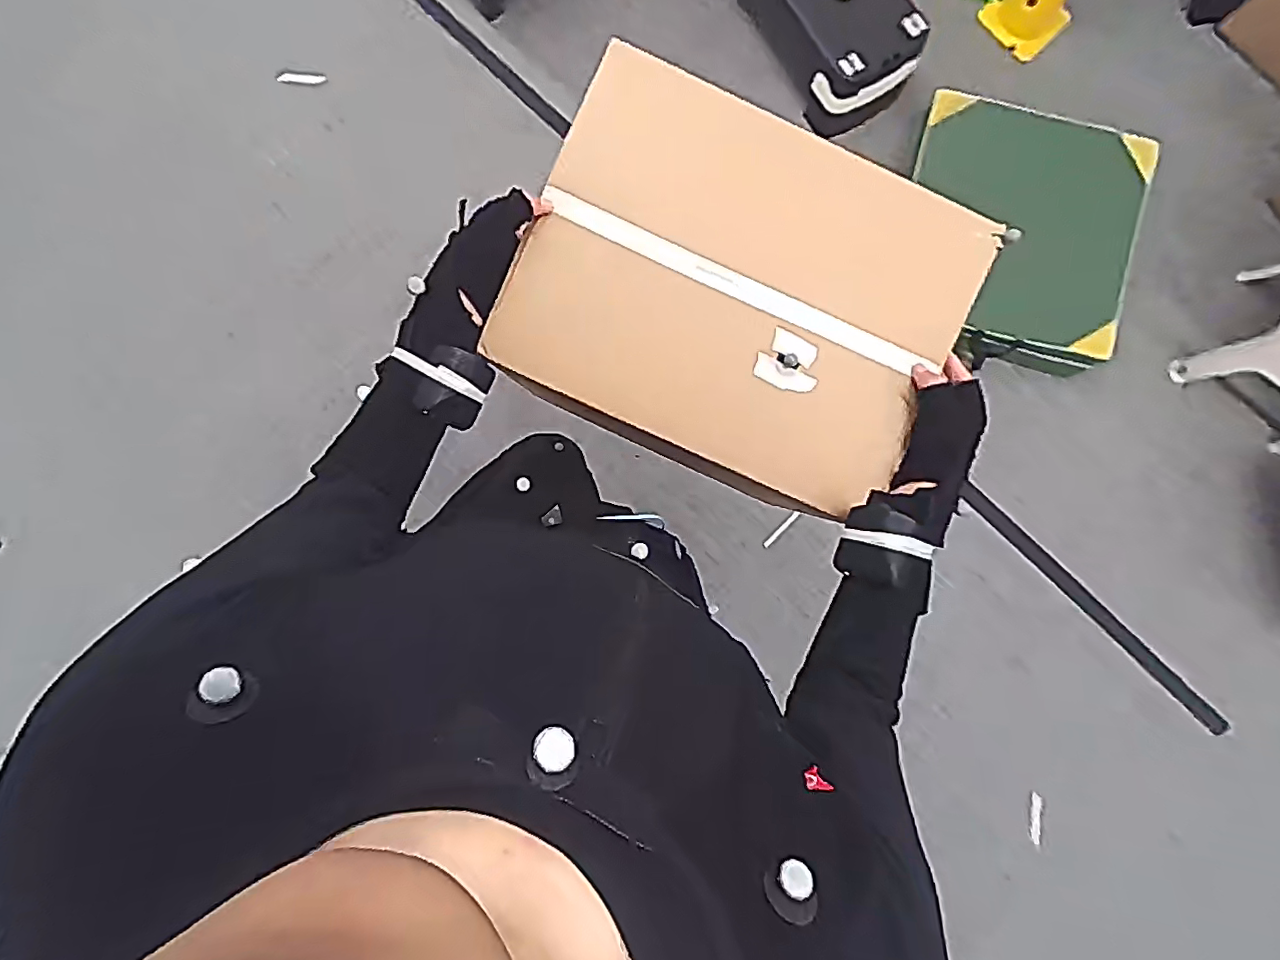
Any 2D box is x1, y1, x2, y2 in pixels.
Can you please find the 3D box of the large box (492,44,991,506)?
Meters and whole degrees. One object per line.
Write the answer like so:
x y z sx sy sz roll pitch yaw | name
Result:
0.091 -0.196 0.661 0.408 0.320 0.320 24 92 -3 | large box
